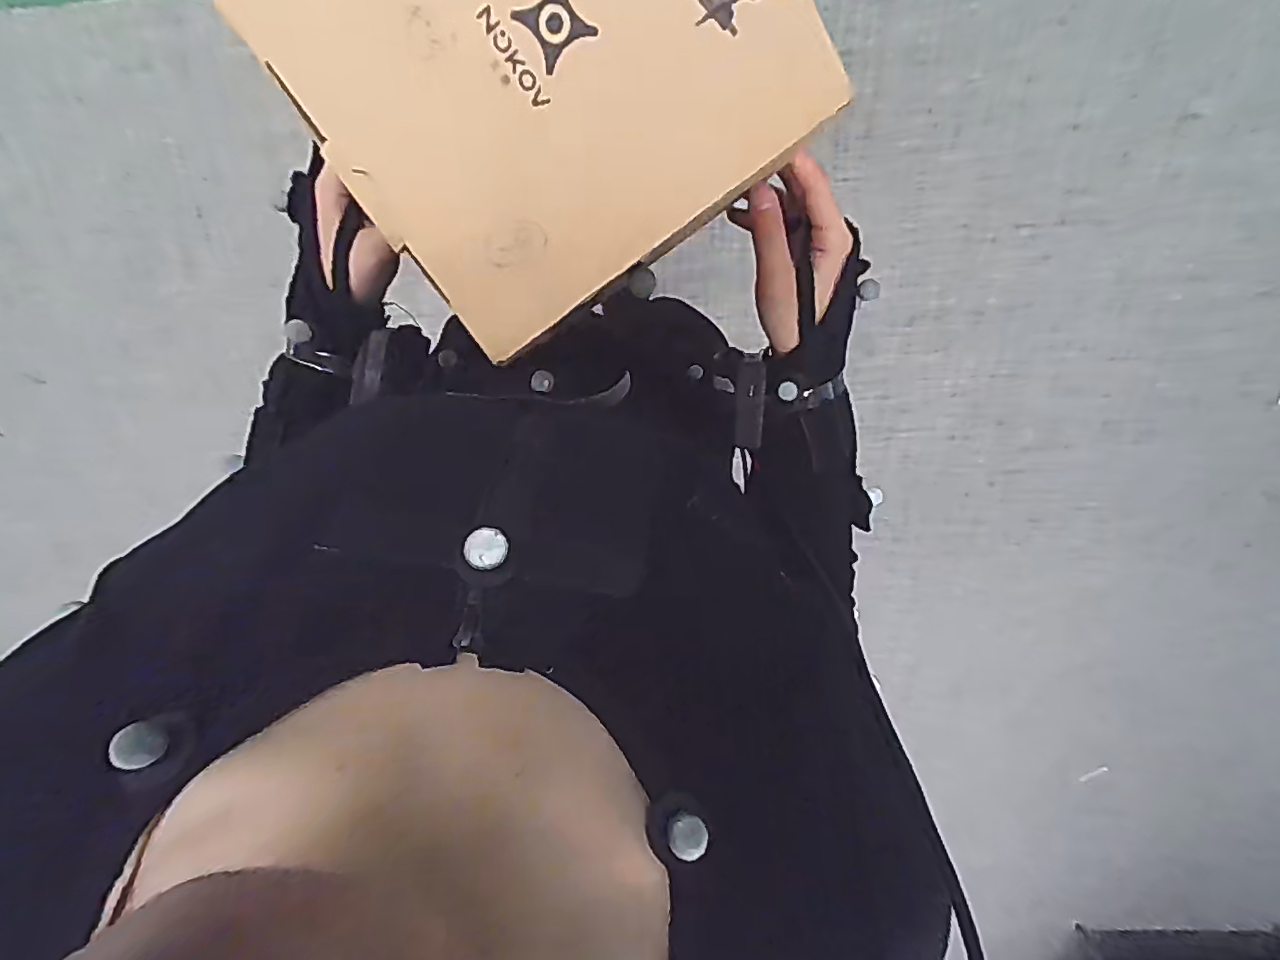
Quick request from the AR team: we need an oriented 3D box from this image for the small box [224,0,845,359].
[{"bbox_3d":[-0.034,-0.184,0.272,0.179,0.176,0.168,-32,106,13],"label":"small box"}]
